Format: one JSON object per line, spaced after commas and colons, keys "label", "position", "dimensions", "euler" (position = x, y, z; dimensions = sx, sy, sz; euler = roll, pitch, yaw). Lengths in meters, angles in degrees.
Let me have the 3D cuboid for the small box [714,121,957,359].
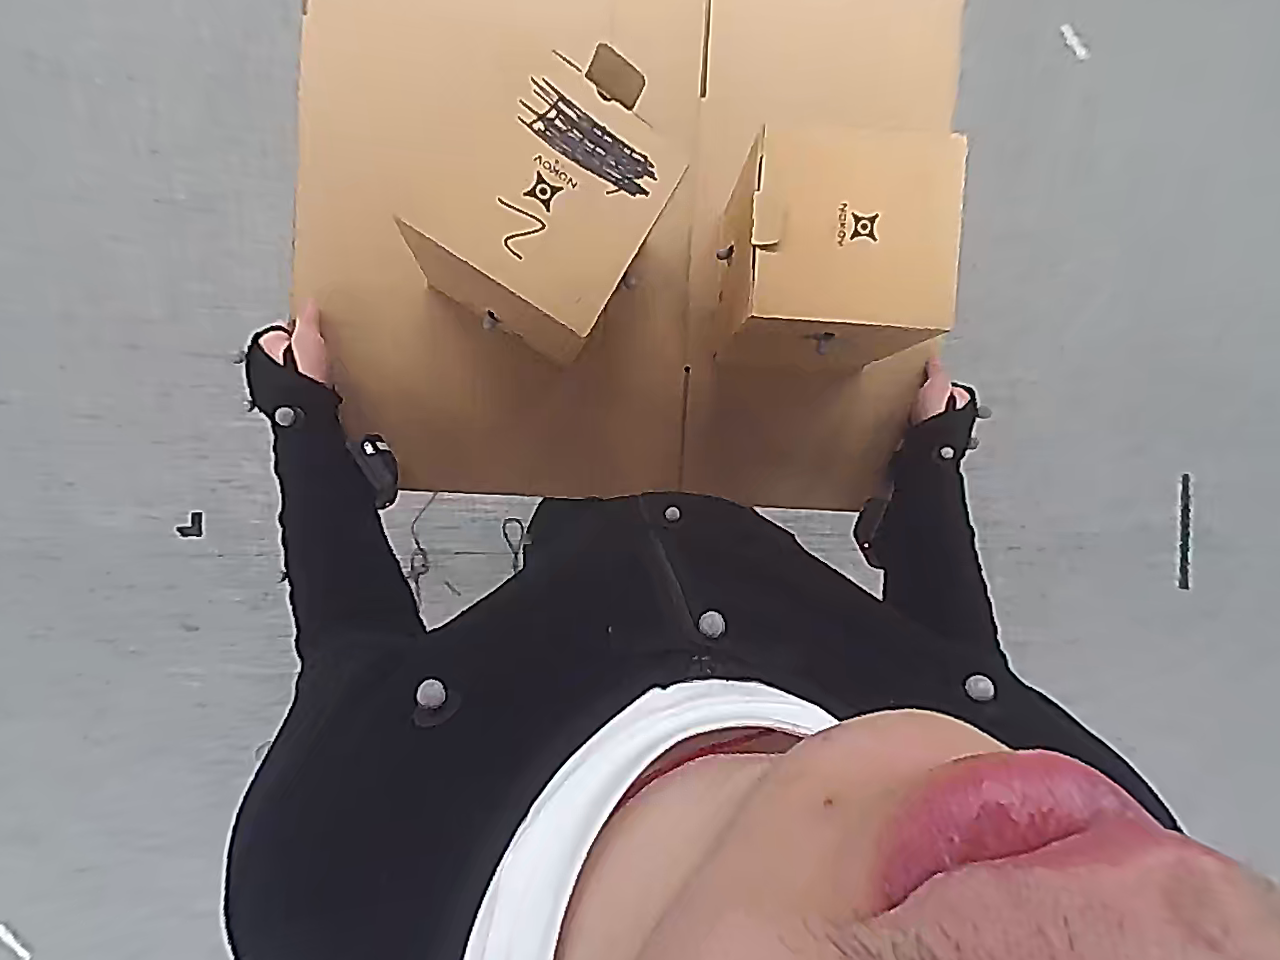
{"label": "small box", "position": [0.180, -0.221, 0.545], "dimensions": [0.179, 0.176, 0.168], "euler": [3, 91, -2]}
